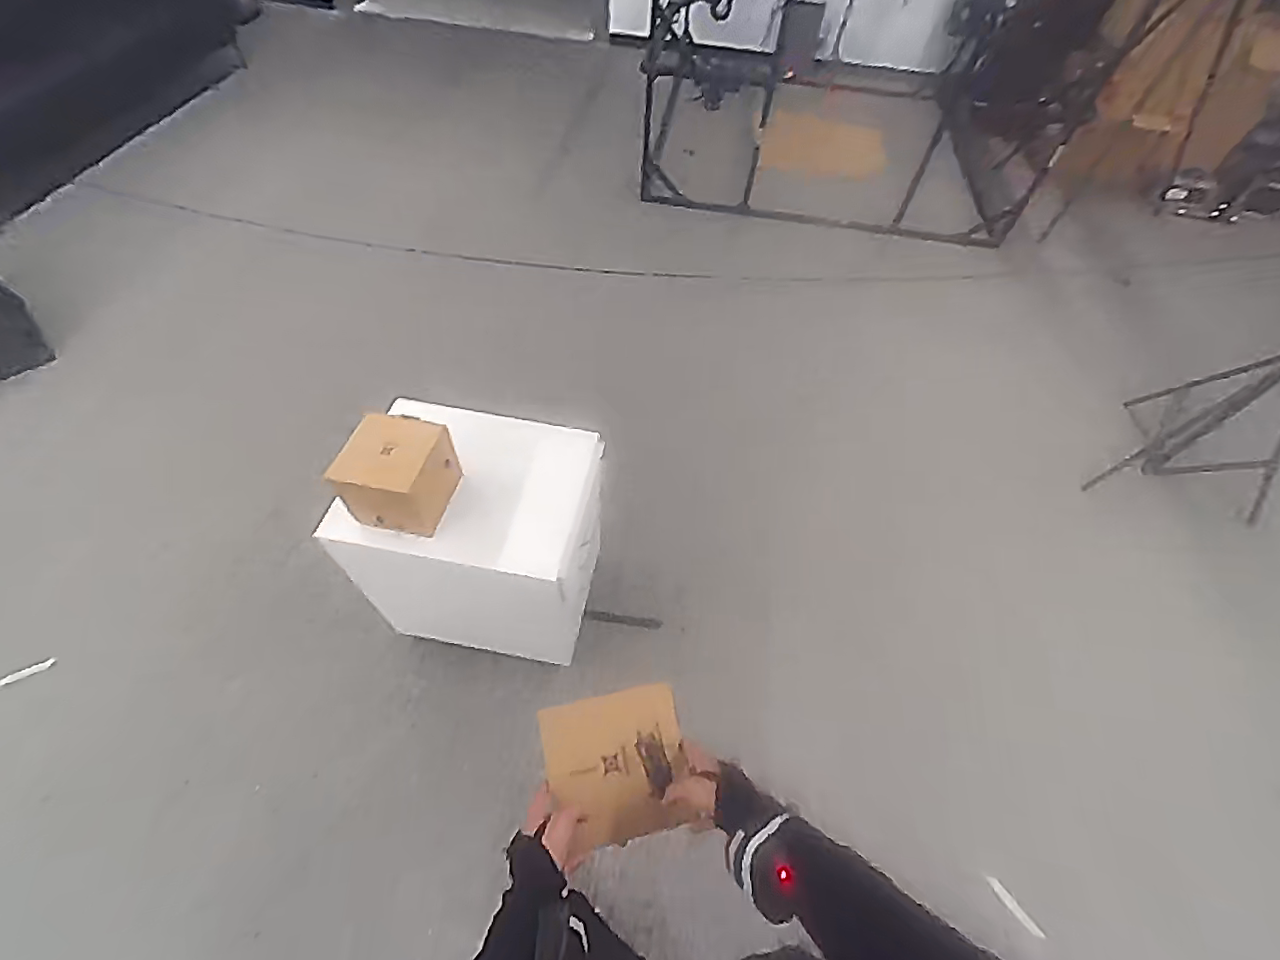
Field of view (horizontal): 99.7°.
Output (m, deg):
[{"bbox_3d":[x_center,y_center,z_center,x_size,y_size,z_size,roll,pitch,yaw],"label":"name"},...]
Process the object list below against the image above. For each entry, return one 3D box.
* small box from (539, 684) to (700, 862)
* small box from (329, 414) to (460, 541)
[{"bbox_3d":[-0.036,0.386,0.735,0.179,0.176,0.168,-9,65,-10],"label":"small box"},{"bbox_3d":[-0.479,-0.003,1.094,0.168,0.176,0.179,11,54,4],"label":"small box"}]
